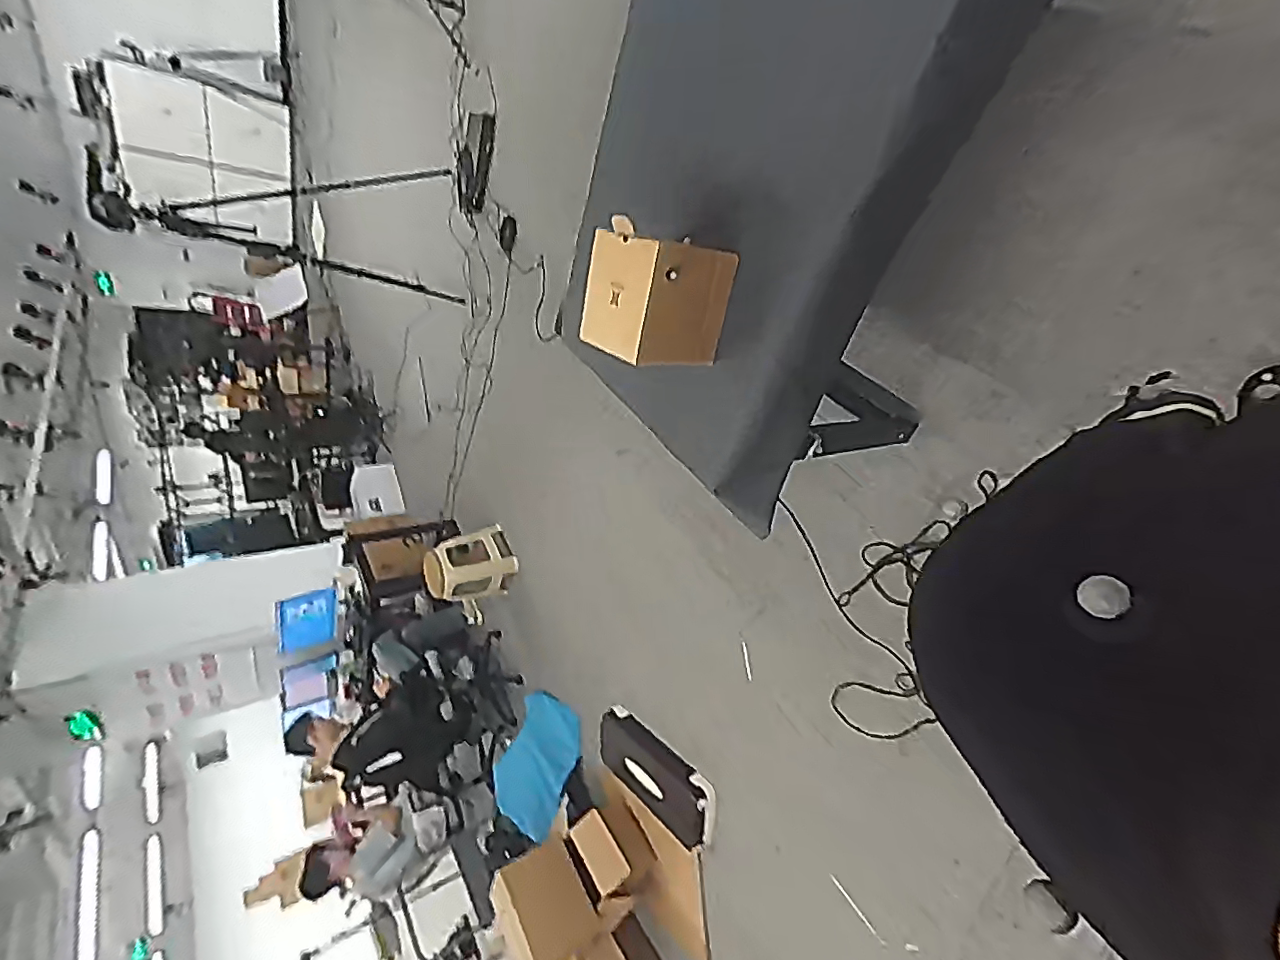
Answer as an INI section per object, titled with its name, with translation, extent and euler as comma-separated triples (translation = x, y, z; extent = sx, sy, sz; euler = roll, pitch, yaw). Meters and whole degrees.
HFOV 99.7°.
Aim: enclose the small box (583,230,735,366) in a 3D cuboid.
[small box]
translation = 0.030, -0.290, 0.878
extent = 0.168, 0.176, 0.179
euler = 36, 122, 43
